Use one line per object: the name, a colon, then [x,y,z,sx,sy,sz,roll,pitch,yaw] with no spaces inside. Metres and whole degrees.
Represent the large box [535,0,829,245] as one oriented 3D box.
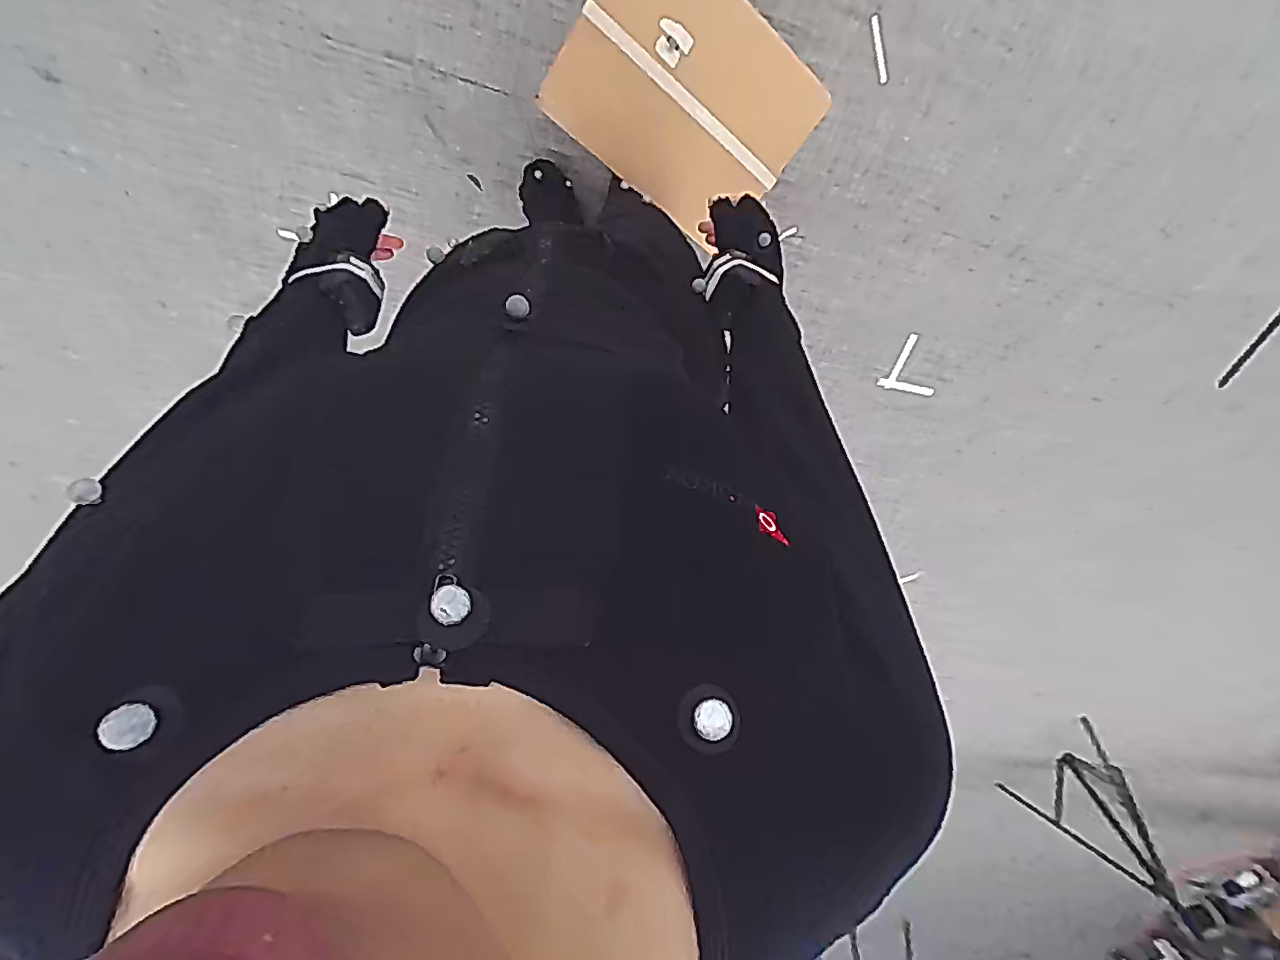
large box: [0.069,-0.725,1.025,0.408,0.320,0.320,31,117,-21]
